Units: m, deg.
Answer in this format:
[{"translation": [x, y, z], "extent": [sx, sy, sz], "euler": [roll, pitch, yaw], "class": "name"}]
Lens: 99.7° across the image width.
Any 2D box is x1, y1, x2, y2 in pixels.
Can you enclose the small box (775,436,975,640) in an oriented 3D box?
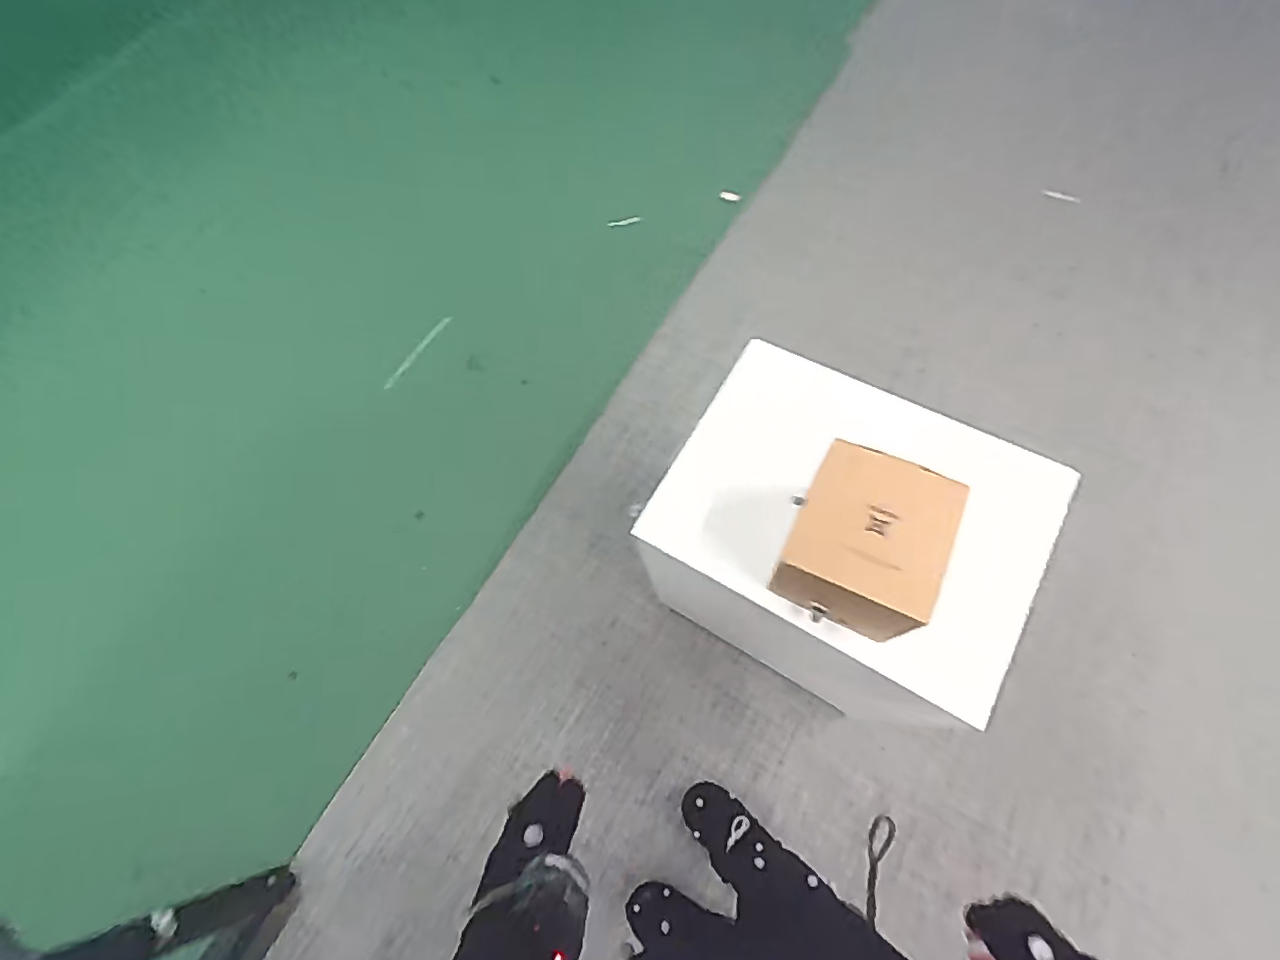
[{"translation": [0.277, 0.079, 0.674], "extent": [0.168, 0.176, 0.179], "euler": [23, 73, 17], "class": "small box"}]
